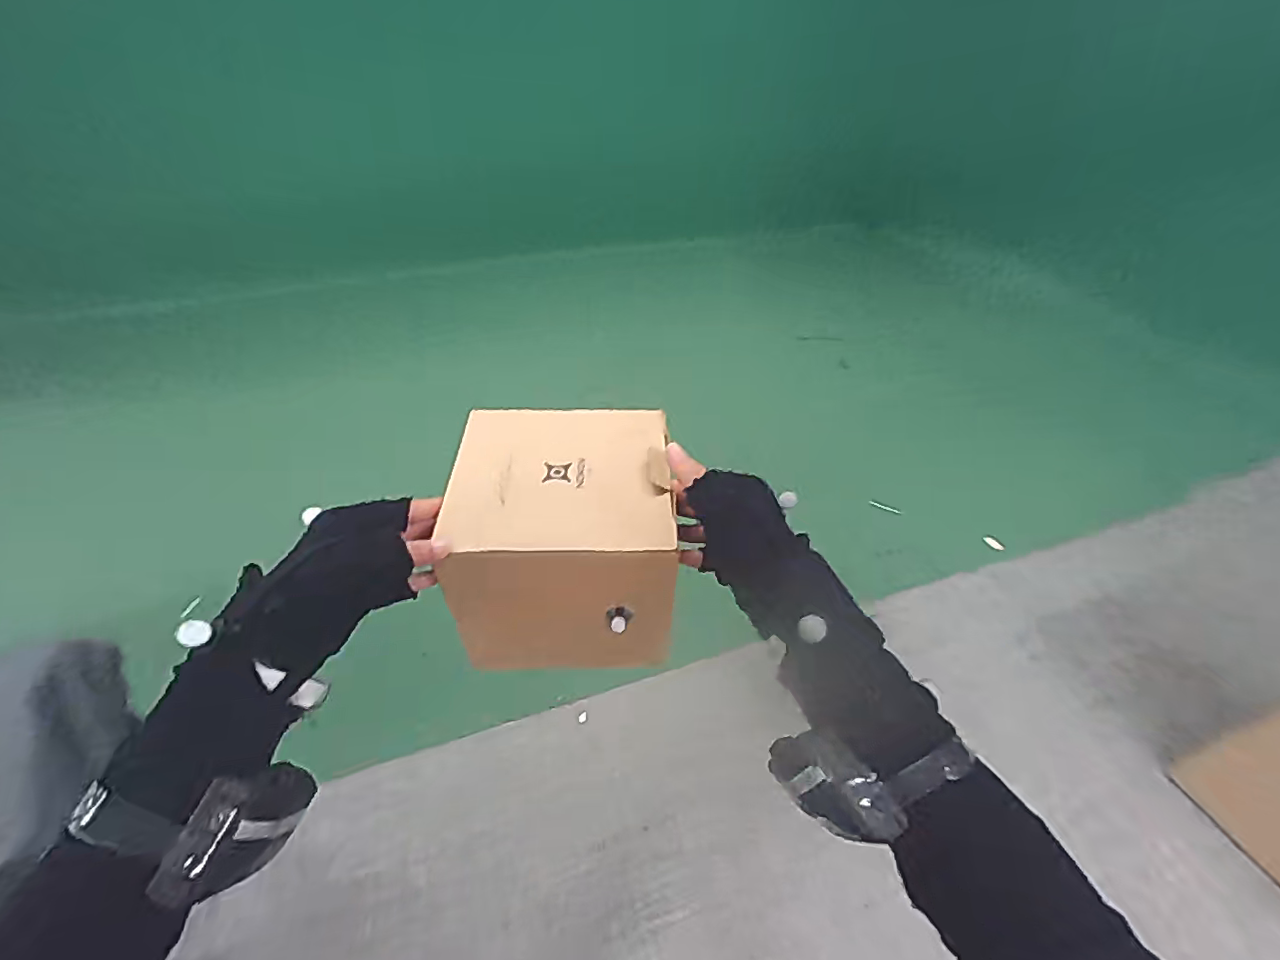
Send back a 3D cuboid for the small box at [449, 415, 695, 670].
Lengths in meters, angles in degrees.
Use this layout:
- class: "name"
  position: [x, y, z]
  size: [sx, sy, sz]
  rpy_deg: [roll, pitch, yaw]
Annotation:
- class: "small box"
  position: [-0.051, 0.057, 0.492]
  size: [0.179, 0.176, 0.168]
  rpy_deg: [-1, 42, -2]
